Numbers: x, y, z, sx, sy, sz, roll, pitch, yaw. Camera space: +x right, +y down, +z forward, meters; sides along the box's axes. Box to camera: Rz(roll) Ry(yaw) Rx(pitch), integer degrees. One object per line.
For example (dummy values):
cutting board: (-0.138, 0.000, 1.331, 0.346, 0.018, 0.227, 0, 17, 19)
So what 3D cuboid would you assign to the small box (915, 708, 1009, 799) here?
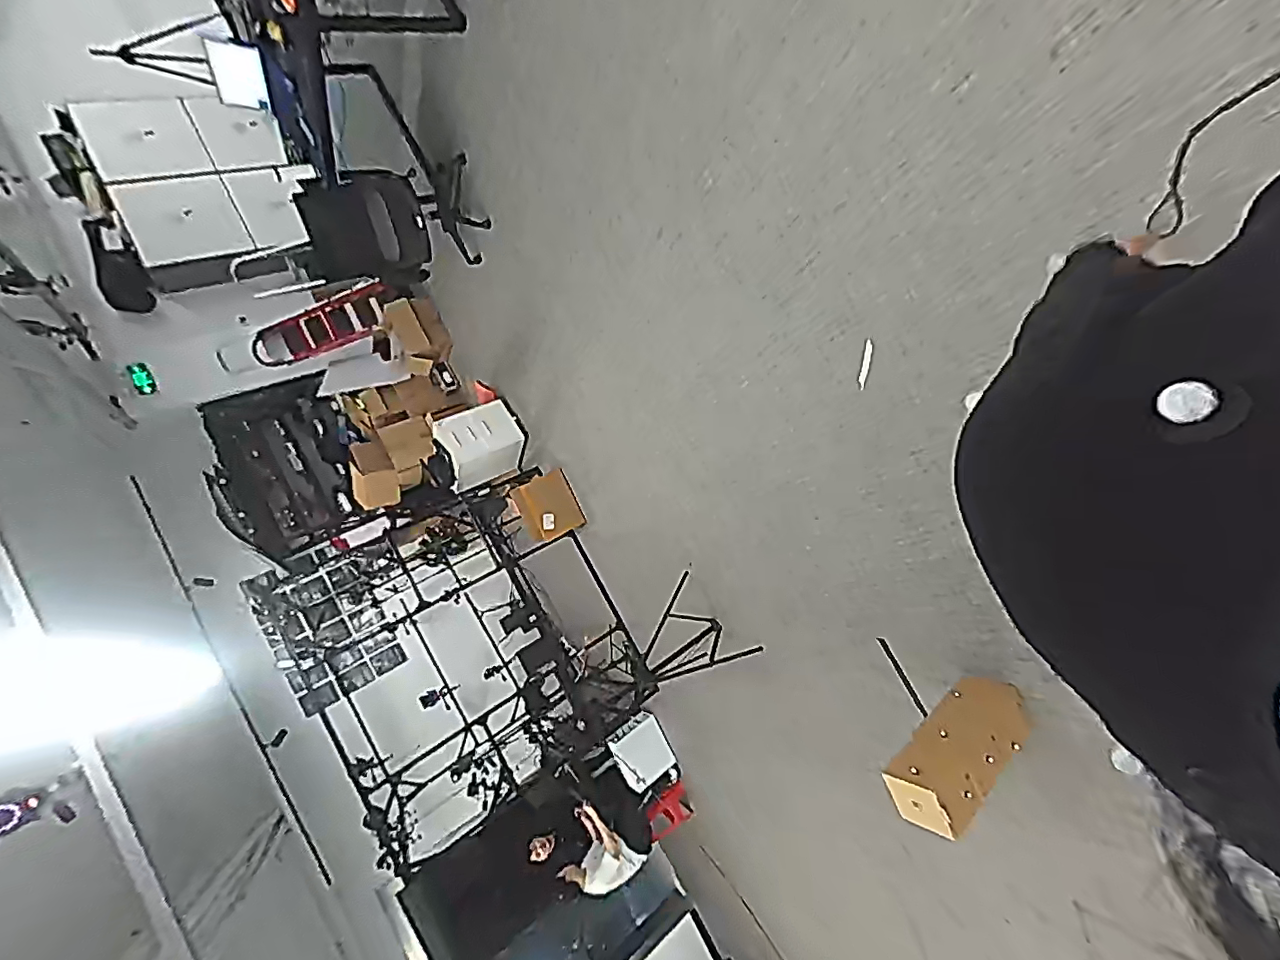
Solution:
small box: (1.005, 0.838, 1.678, 0.179, 0.176, 0.168, -20, 97, 62)

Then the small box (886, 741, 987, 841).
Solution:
small box: (0.880, 0.909, 1.603, 0.179, 0.176, 0.168, -21, 96, 61)
